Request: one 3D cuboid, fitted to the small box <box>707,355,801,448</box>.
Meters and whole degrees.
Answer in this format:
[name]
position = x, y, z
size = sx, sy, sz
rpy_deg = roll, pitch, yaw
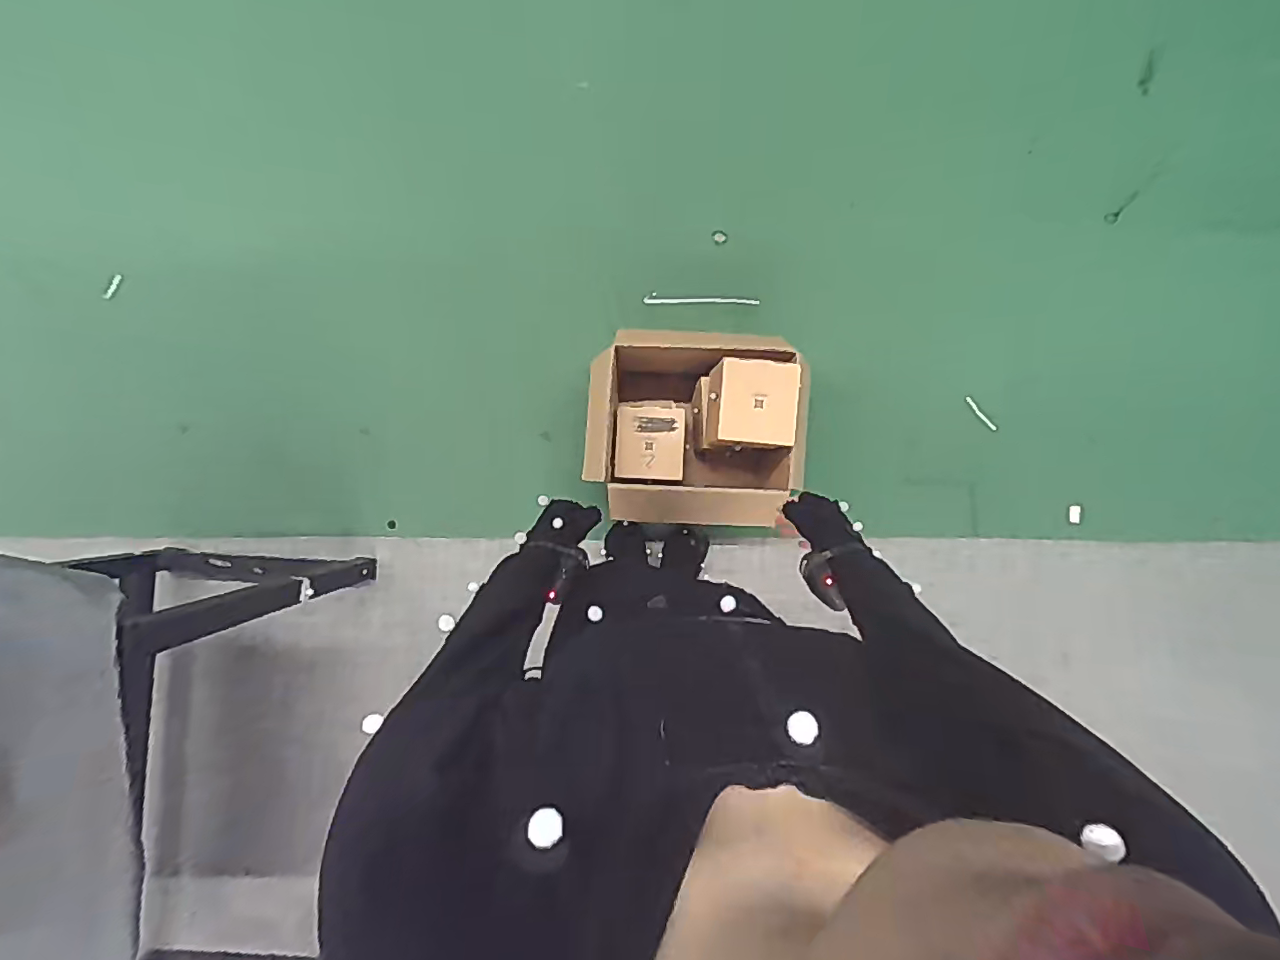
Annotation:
[small box]
position = 0.245, -0.167, 1.200
size = 0.168, 0.176, 0.179
rpy_deg = 5, 89, -2
